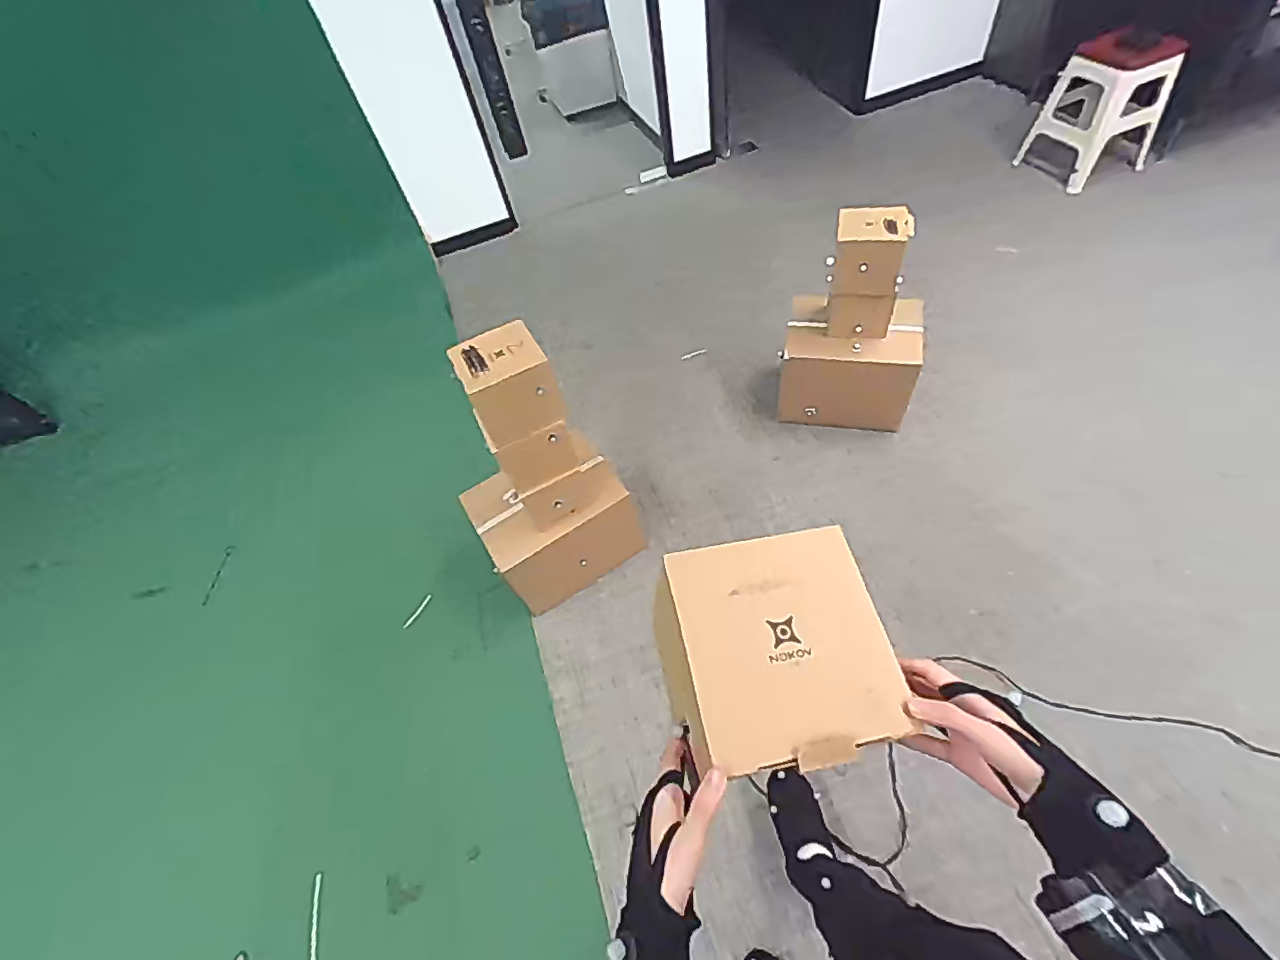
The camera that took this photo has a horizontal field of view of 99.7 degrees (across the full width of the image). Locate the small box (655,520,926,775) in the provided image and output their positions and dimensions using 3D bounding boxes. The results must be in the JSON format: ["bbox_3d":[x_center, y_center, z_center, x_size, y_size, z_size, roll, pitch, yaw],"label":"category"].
[{"bbox_3d":[0.113,0.160,0.496,0.168,0.176,0.179,-8,59,-8],"label":"small box"}]

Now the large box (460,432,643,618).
[{"bbox_3d":[-0.252,0.136,1.629,0.408,0.320,0.320,-32,54,-12],"label":"large box"}]

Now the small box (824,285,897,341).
[{"bbox_3d":[0.672,-0.545,1.663,0.179,0.176,0.168,5,54,12],"label":"small box"}]

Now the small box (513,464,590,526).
[{"bbox_3d":[-0.248,-0.001,1.422,0.168,0.176,0.179,-27,54,-11],"label":"small box"}]

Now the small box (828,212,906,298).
[{"bbox_3d":[0.638,-0.631,1.525,0.179,0.176,0.168,7,55,16],"label":"small box"}]

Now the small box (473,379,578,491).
[{"bbox_3d":[-0.270,-0.103,1.297,0.179,0.176,0.168,-25,54,-10],"label":"small box"}]
